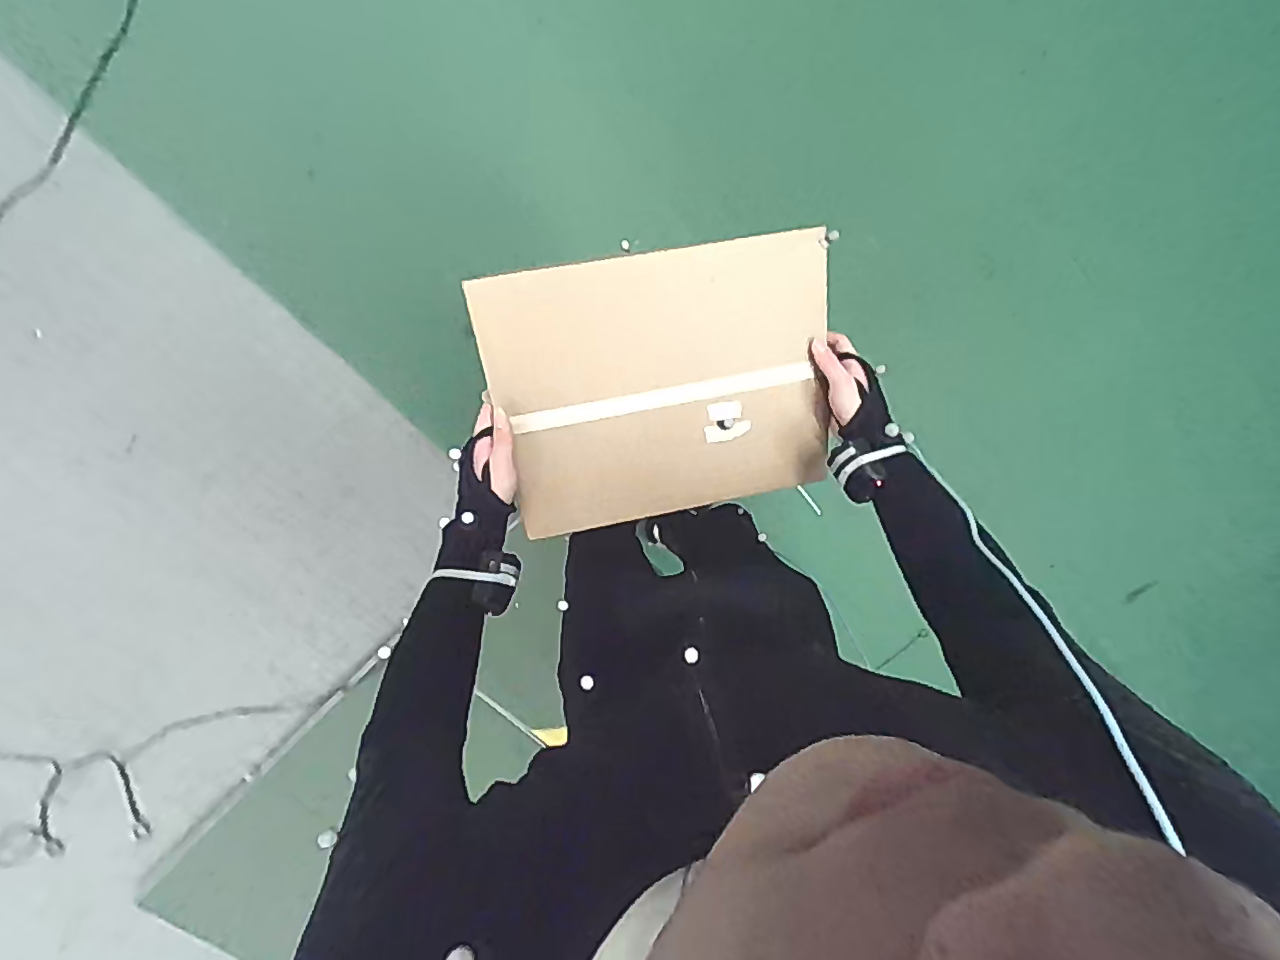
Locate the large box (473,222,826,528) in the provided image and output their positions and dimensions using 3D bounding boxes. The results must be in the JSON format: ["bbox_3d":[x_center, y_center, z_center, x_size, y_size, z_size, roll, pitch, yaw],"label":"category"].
[{"bbox_3d":[0.006,-0.167,0.781,0.408,0.320,0.320,-11,114,-8],"label":"large box"}]
